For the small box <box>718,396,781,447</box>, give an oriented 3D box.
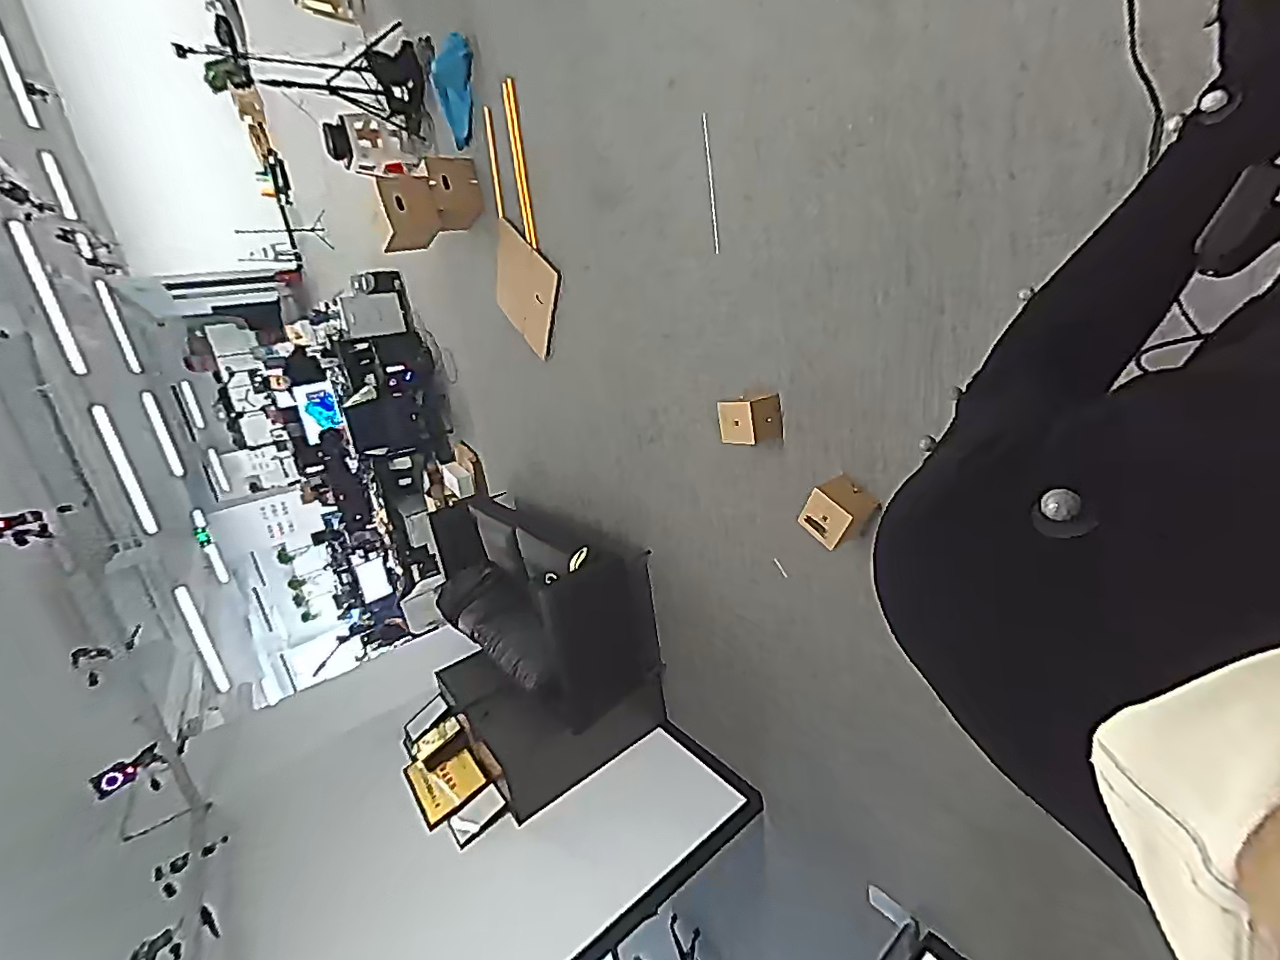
[{"bbox_3d":[0.436,-0.235,2.118,0.179,0.176,0.168,10,114,53],"label":"small box"}]
